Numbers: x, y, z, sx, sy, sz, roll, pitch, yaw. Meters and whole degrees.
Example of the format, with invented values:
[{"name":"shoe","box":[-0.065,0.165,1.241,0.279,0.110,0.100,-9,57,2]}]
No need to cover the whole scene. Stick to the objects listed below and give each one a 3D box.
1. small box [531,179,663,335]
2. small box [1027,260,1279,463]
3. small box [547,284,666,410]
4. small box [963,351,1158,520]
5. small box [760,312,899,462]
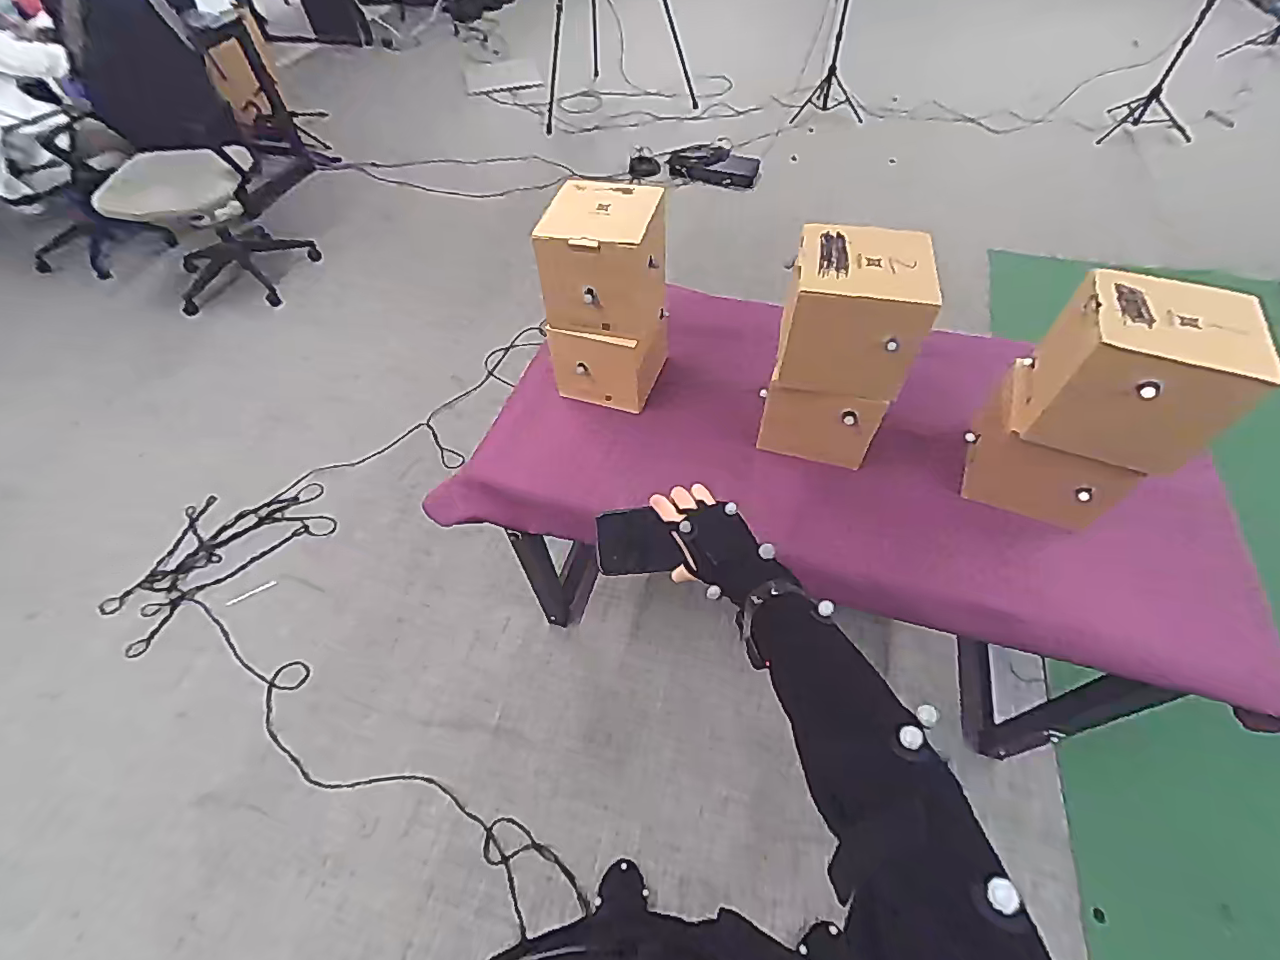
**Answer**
[{"name":"small box","box":[-0.057,-0.360,0.882,0.168,0.176,0.179,10,55,10]},{"name":"small box","box":[0.626,-0.146,0.683,0.179,0.176,0.168,19,56,16]},{"name":"small box","box":[-0.051,-0.255,1.009,0.168,0.176,0.179,14,55,13]},{"name":"small box","box":[0.630,-0.063,0.825,0.179,0.176,0.168,19,56,17]},{"name":"small box","box":[0.312,-0.151,0.908,0.179,0.176,0.168,13,55,13]}]
